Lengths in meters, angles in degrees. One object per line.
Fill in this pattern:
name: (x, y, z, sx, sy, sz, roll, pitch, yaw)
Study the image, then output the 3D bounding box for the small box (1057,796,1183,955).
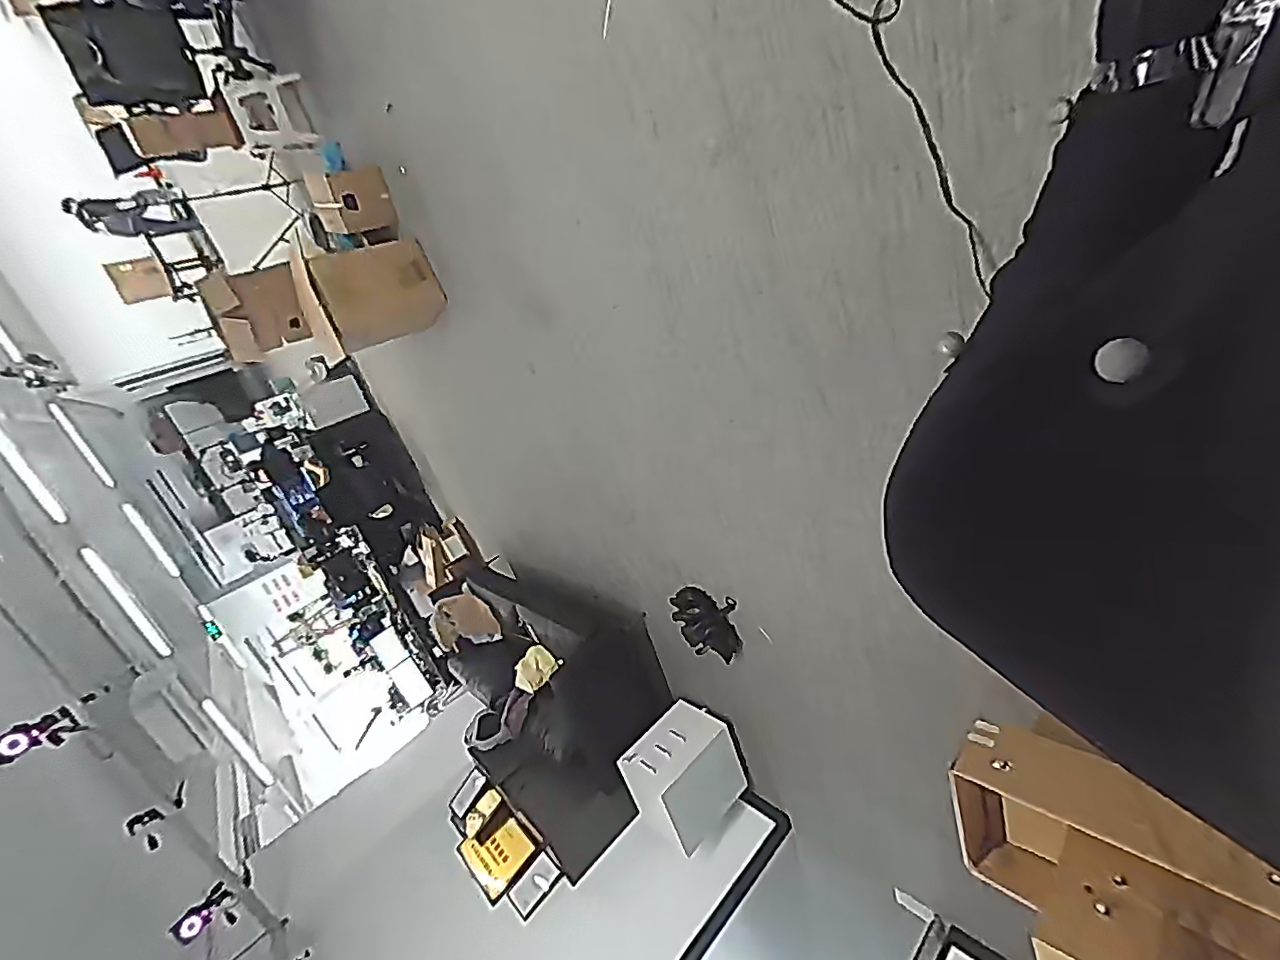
small box: (1.022, 0.827, 1.149, 0.168, 0.176, 0.179, -3, 117, 52)

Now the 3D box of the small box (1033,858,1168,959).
small box: (0.908, 0.908, 1.063, 0.168, 0.176, 0.179, -1, 116, 53)
